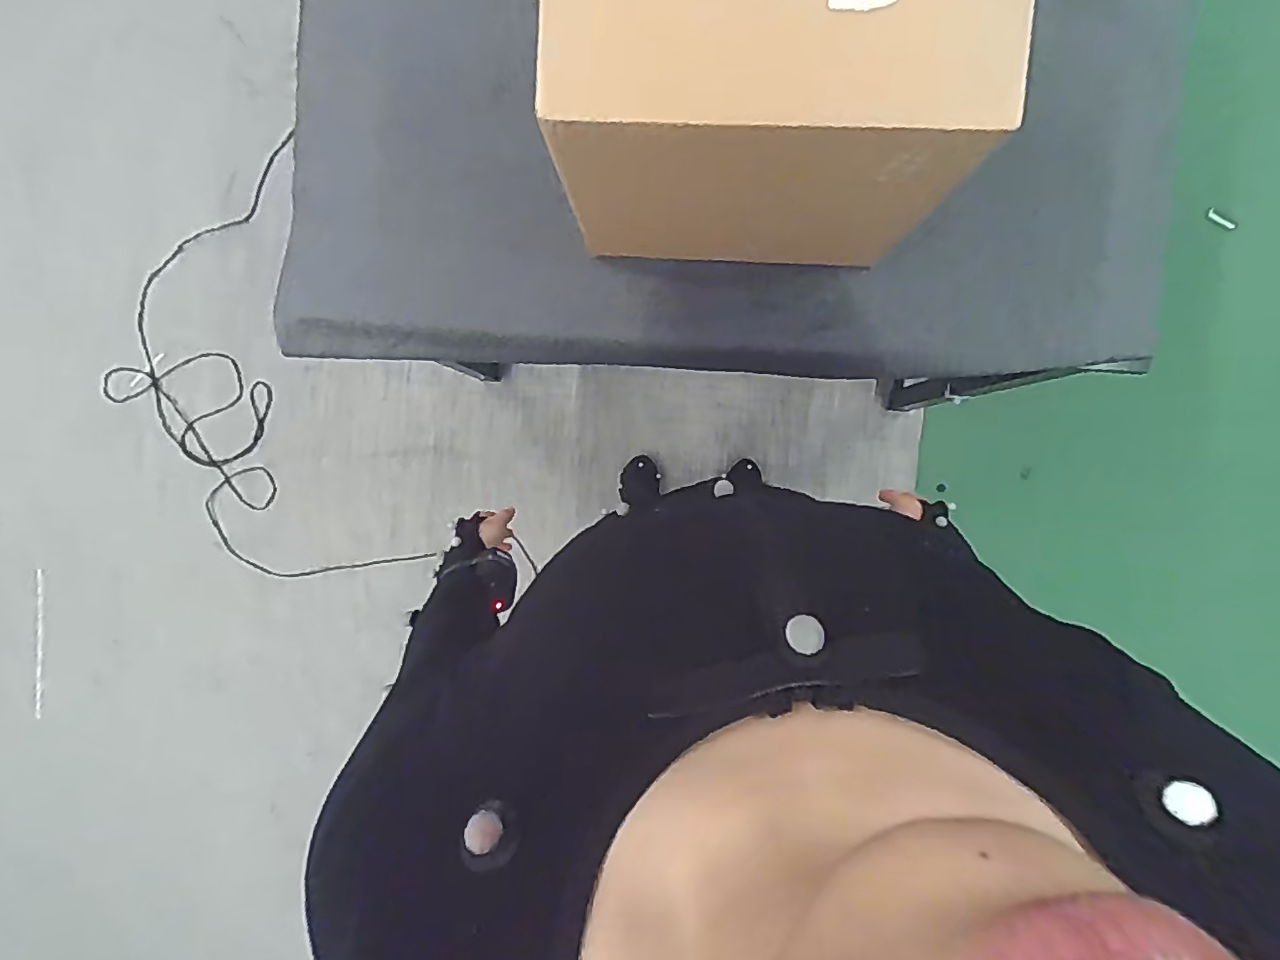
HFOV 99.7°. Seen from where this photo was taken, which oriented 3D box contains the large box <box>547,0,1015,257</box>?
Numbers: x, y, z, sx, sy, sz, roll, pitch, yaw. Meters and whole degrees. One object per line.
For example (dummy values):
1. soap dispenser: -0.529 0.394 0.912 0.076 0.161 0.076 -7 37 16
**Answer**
1. large box: 0.127 -0.464 0.612 0.408 0.320 0.320 3 93 3
